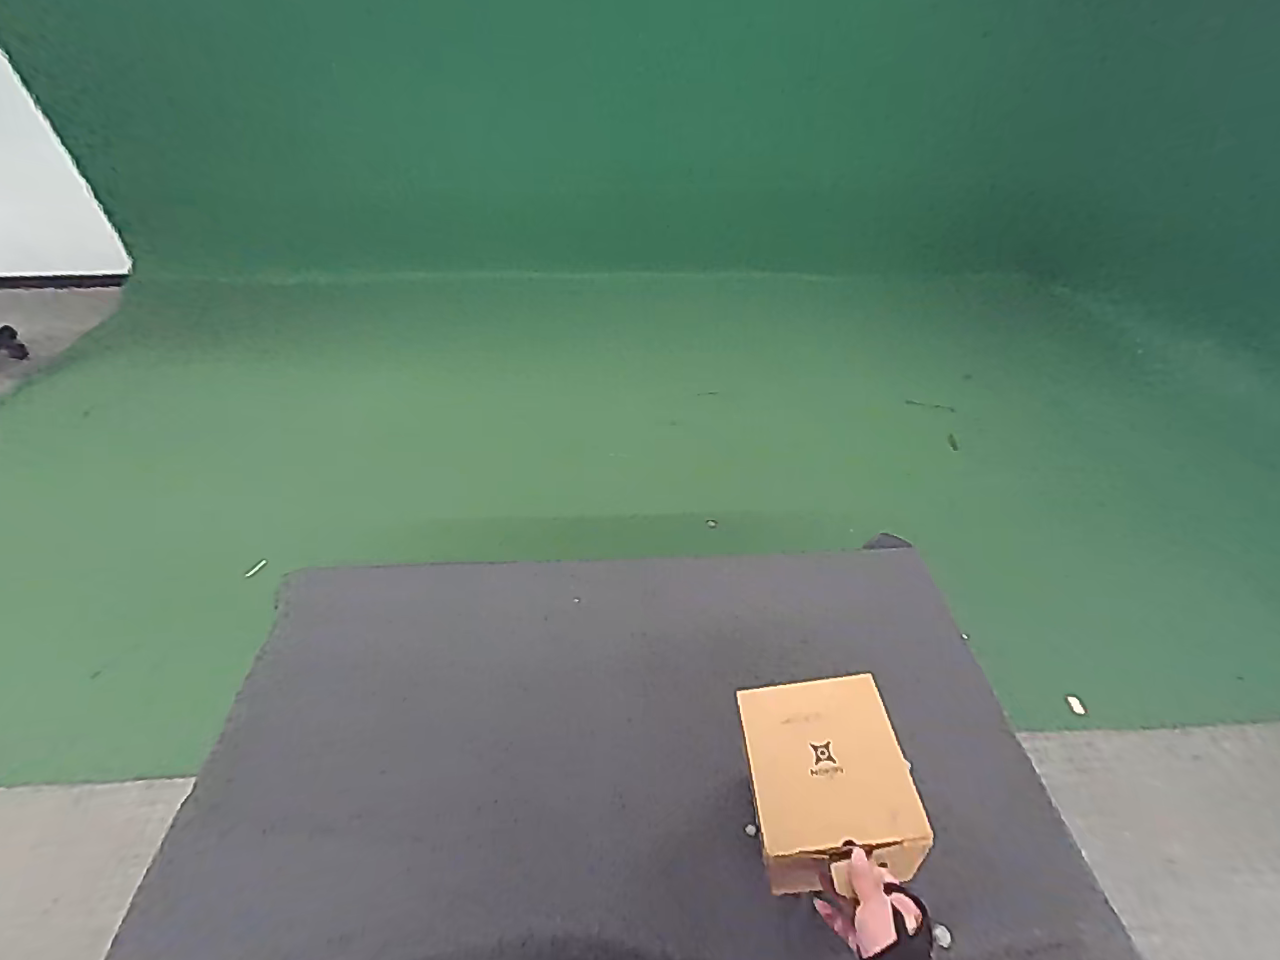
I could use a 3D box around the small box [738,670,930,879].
[{"bbox_3d":[0.216,0.357,0.649,0.168,0.176,0.179,-8,41,4],"label":"small box"}]
